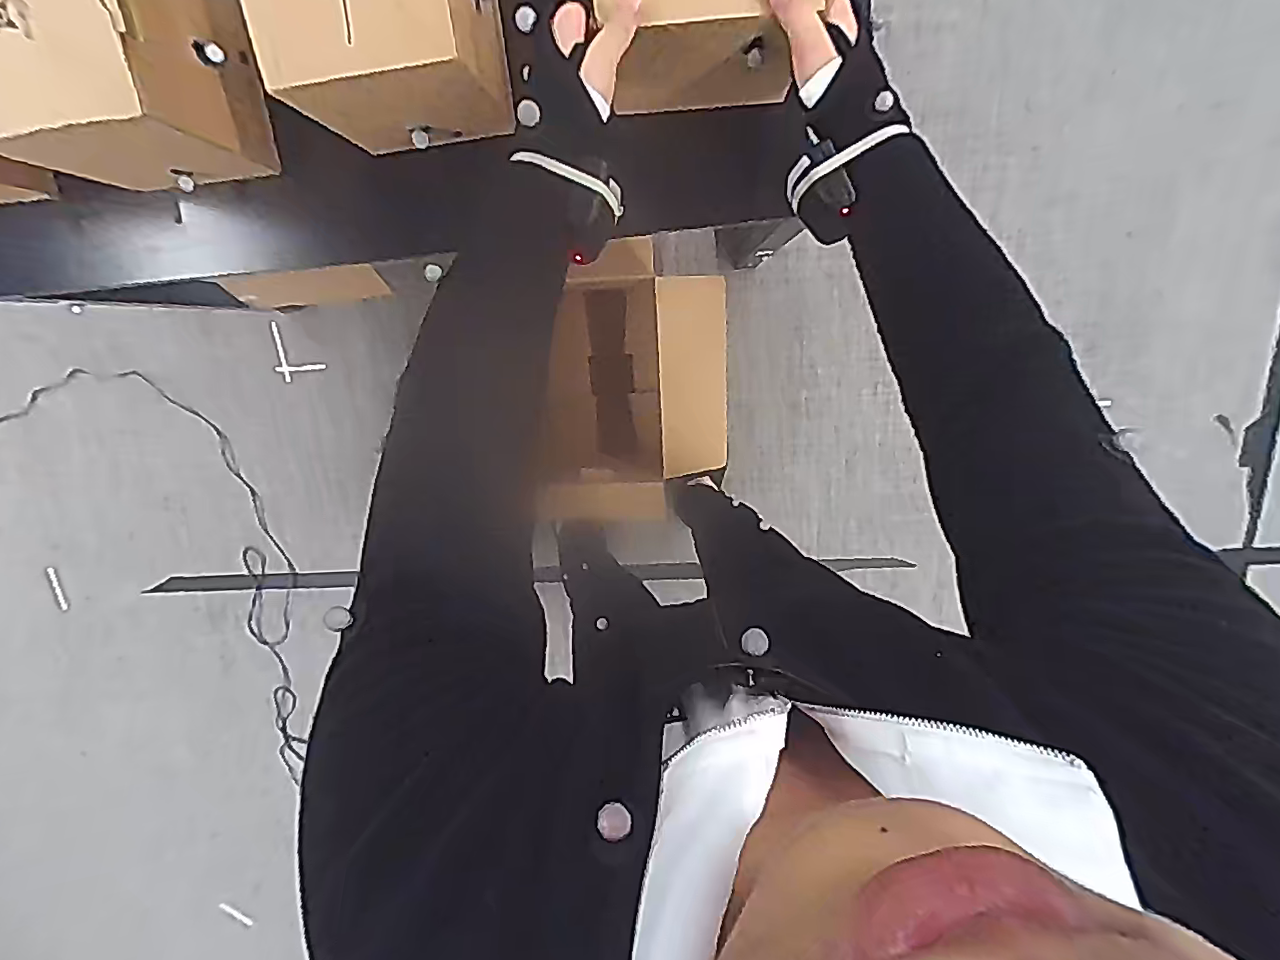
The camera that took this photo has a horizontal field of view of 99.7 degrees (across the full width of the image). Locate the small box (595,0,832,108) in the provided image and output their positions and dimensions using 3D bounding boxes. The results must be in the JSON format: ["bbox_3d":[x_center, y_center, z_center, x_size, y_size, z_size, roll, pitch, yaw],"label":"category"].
[{"bbox_3d":[0.055,-0.442,0.455,0.179,0.176,0.168,-2,105,4],"label":"small box"}]

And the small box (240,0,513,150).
[{"bbox_3d":[-0.224,-0.423,0.478,0.168,0.176,0.179,-6,106,4],"label":"small box"}]

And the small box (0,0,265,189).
[{"bbox_3d":[-0.492,-0.388,0.502,0.179,0.176,0.168,-6,105,3],"label":"small box"}]

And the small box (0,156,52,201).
[{"bbox_3d":[-0.755,-0.372,0.520,0.179,0.176,0.168,-4,106,3],"label":"small box"}]
